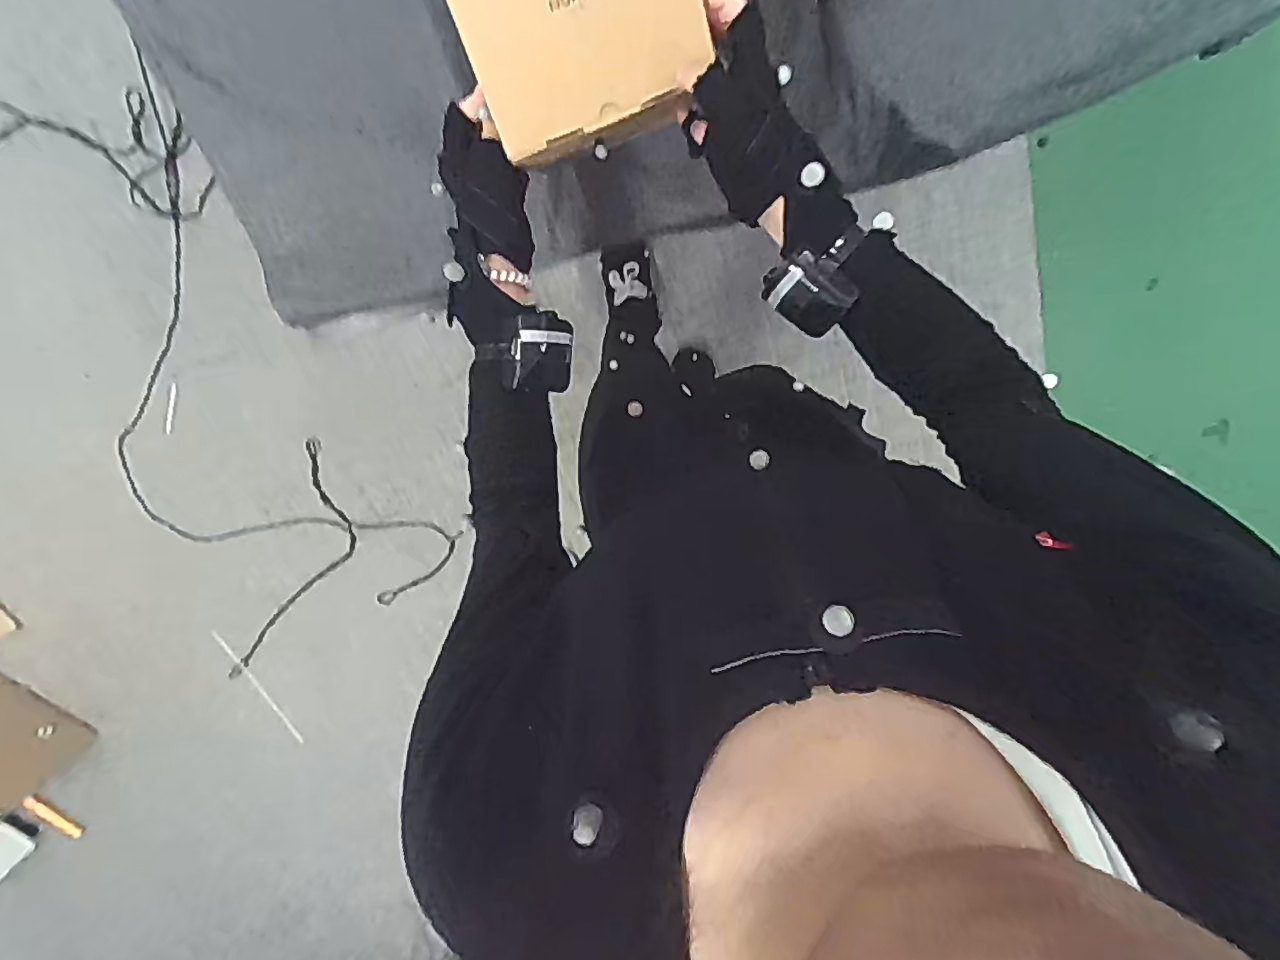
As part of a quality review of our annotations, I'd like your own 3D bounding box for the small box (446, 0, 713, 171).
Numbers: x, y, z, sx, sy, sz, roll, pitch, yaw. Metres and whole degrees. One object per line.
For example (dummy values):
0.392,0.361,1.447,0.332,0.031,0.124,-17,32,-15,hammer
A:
-0.055,-0.373,0.434,0.168,0.176,0.179,-19,117,6,small box
